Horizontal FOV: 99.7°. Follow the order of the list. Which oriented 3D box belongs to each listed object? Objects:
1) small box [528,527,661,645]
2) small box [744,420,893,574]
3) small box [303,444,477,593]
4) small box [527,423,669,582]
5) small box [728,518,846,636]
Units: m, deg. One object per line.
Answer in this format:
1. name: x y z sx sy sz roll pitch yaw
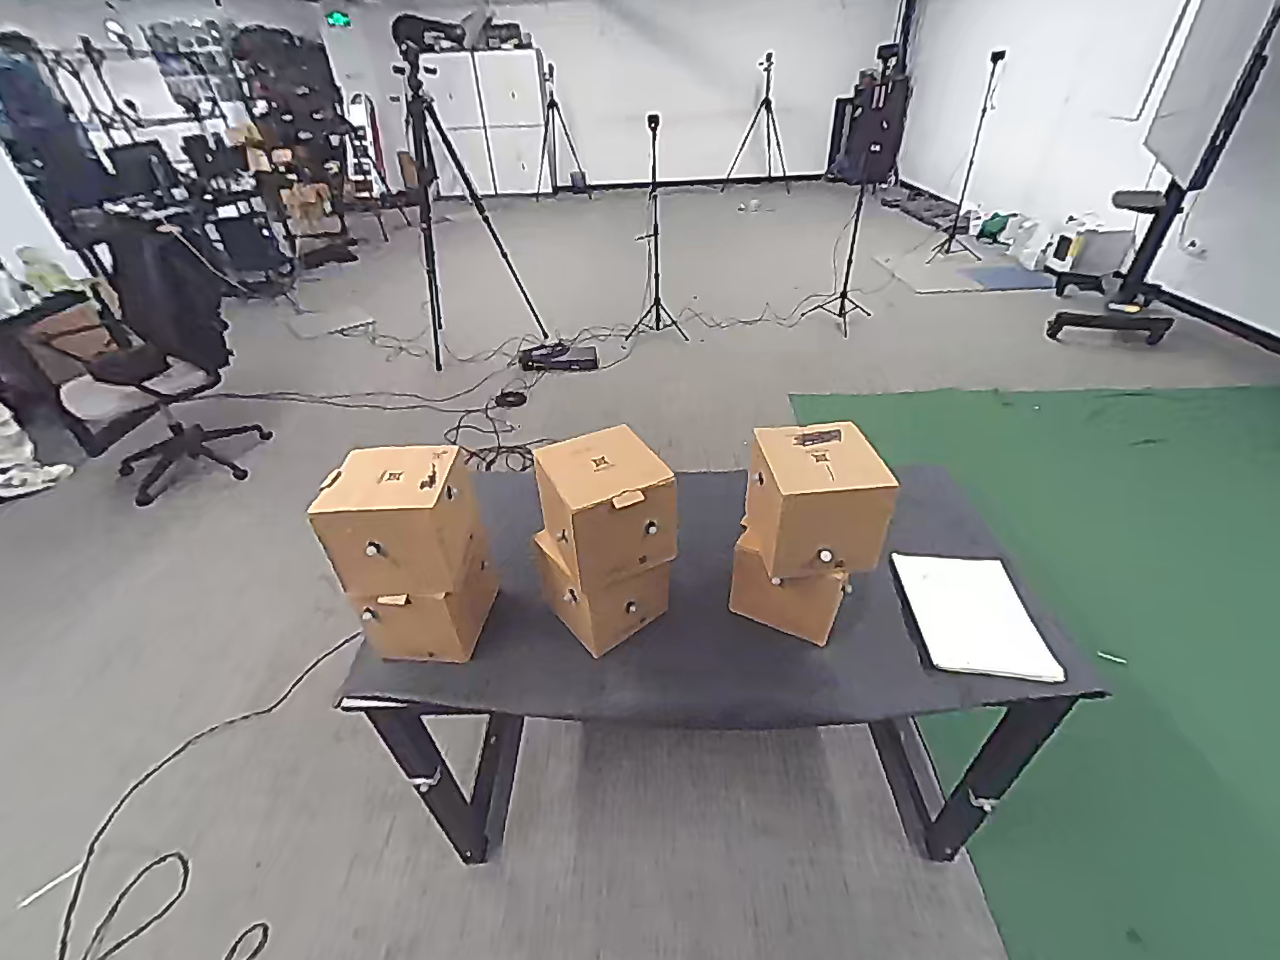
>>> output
1. small box: -0.073 0.164 0.961 0.168 0.176 0.179 -27 43 -30
2. small box: 0.264 0.025 0.851 0.168 0.176 0.179 -5 37 -1
3. small box: -0.373 0.061 0.845 0.179 0.176 0.168 -3 35 -1
4. small box: -0.063 0.038 0.857 0.168 0.176 0.179 -18 39 -22
5. small box: 0.269 0.148 0.962 0.179 0.176 0.168 16 41 25
